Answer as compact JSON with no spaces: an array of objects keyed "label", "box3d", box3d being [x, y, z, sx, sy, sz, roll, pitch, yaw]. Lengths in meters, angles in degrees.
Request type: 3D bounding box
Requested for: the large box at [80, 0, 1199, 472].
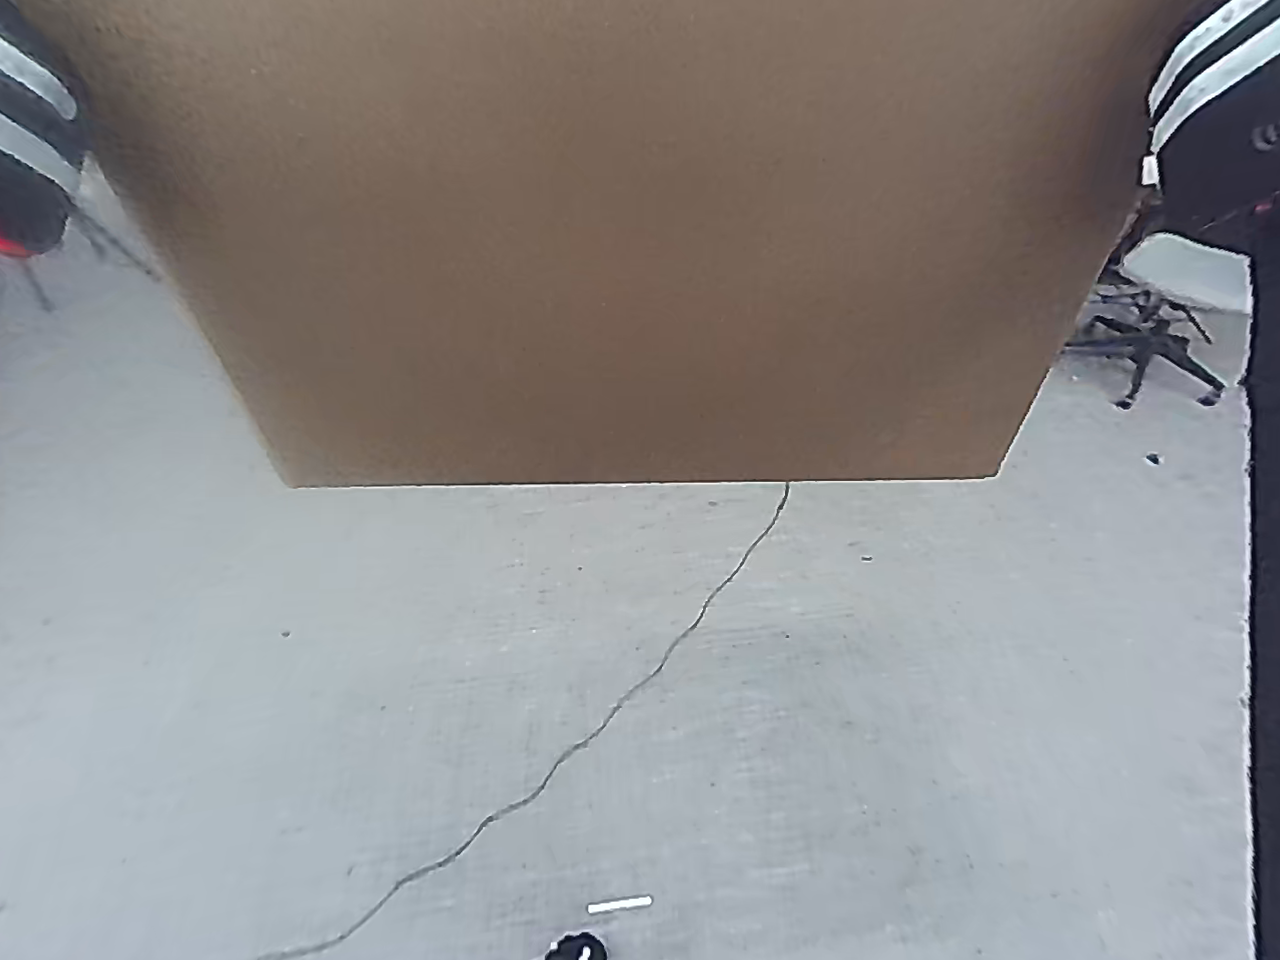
[{"label":"large box","box3d":[-0.001,-0.215,0.339,0.408,0.320,0.320,0,40,0]}]
